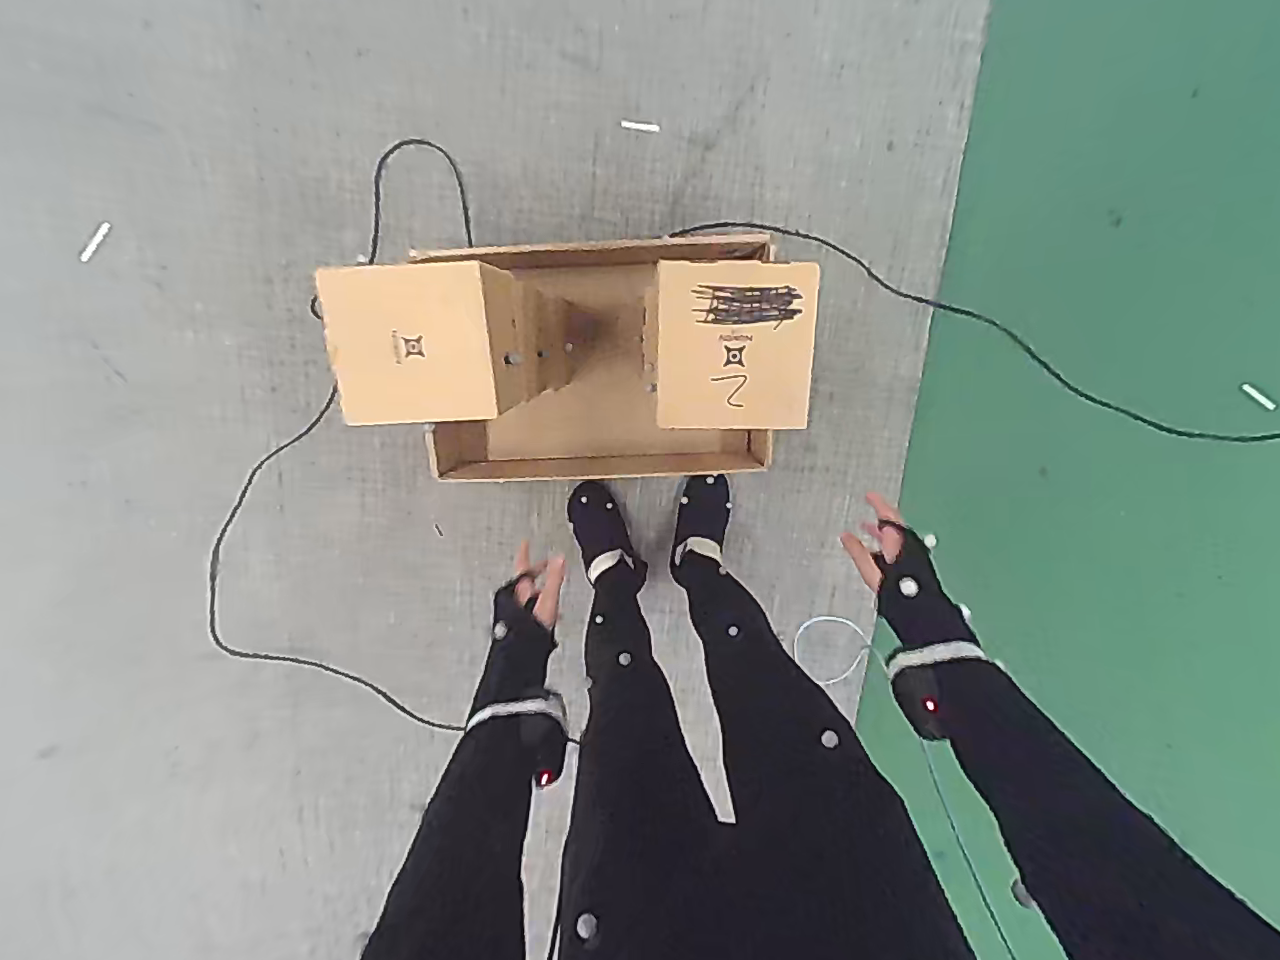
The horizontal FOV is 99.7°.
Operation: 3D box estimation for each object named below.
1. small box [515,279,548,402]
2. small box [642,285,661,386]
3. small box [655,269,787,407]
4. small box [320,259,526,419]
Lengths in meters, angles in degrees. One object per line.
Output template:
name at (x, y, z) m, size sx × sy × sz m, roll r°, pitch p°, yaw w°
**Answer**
small box at (-0.240, -0.211, 0.810) m, size 0.179 × 0.176 × 0.168 m, roll 2°, pitch 105°, yaw -1°
small box at (0.096, -0.249, 0.967) m, size 0.179 × 0.176 × 0.168 m, roll 3°, pitch 104°, yaw 0°
small box at (0.110, -0.209, 0.807) m, size 0.168 × 0.176 × 0.179 m, roll 2°, pitch 103°, yaw -1°
small box at (-0.240, -0.170, 0.653) m, size 0.179 × 0.176 × 0.168 m, roll -2°, pitch 105°, yaw 2°
